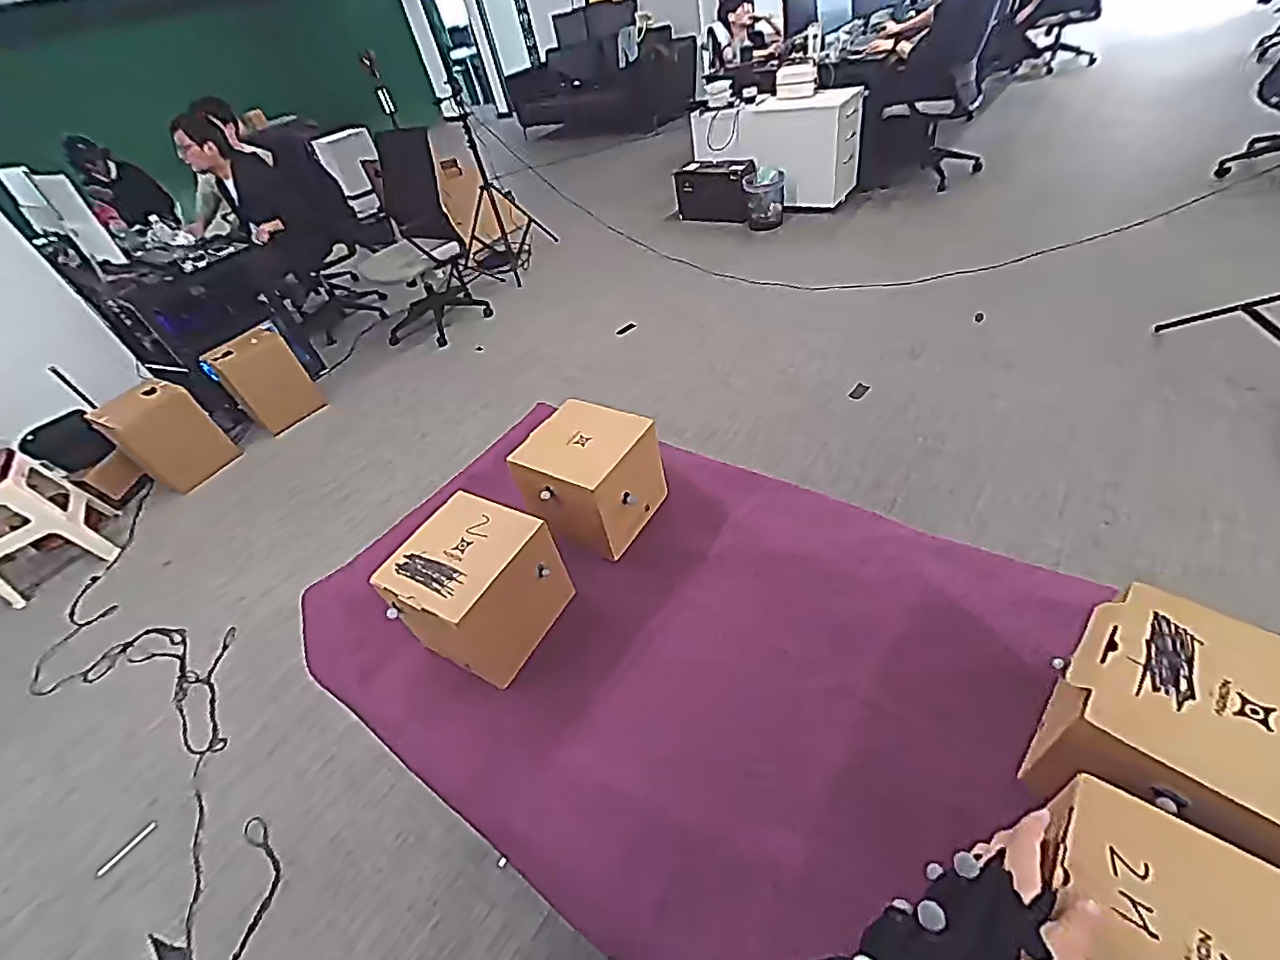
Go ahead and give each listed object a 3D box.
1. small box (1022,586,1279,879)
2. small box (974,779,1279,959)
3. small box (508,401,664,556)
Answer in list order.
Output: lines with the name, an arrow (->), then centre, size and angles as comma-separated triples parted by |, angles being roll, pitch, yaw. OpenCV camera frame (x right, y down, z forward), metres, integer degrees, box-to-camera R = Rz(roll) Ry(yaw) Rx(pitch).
small box -> 0.486, 0.236, 0.487 | 0.179, 0.176, 0.168 | 28, 59, 34
small box -> 0.369, 0.364, 0.386 | 0.179, 0.176, 0.168 | 23, 53, 34
small box -> -0.077, -0.001, 0.884 | 0.179, 0.176, 0.168 | 18, 52, 30
